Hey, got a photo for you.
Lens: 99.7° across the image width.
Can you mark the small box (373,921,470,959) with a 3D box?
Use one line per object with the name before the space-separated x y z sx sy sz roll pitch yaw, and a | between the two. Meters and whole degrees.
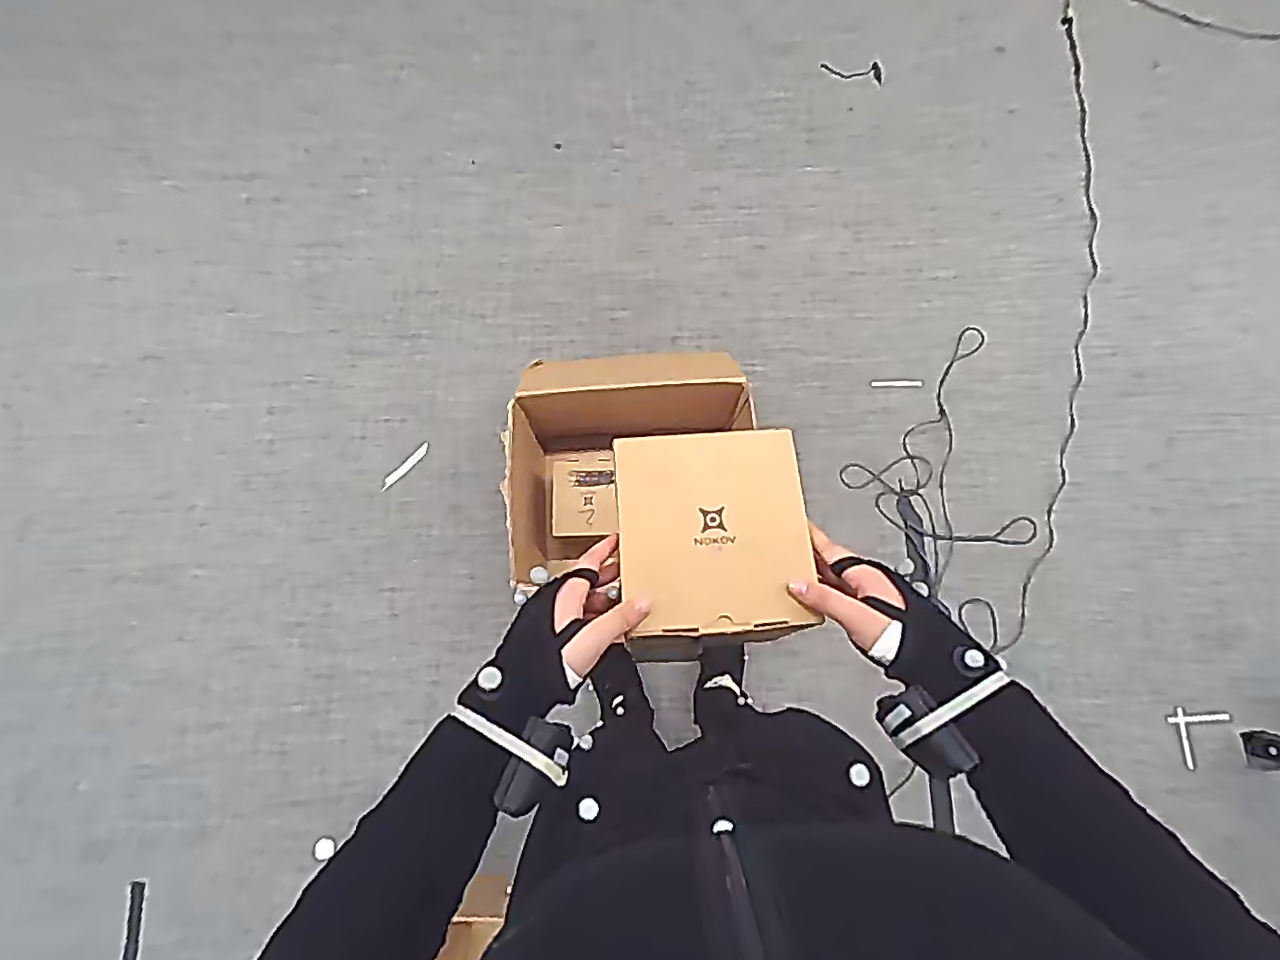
small box | -0.450 1.023 1.079 0.179 0.176 0.168 3 80 -2
